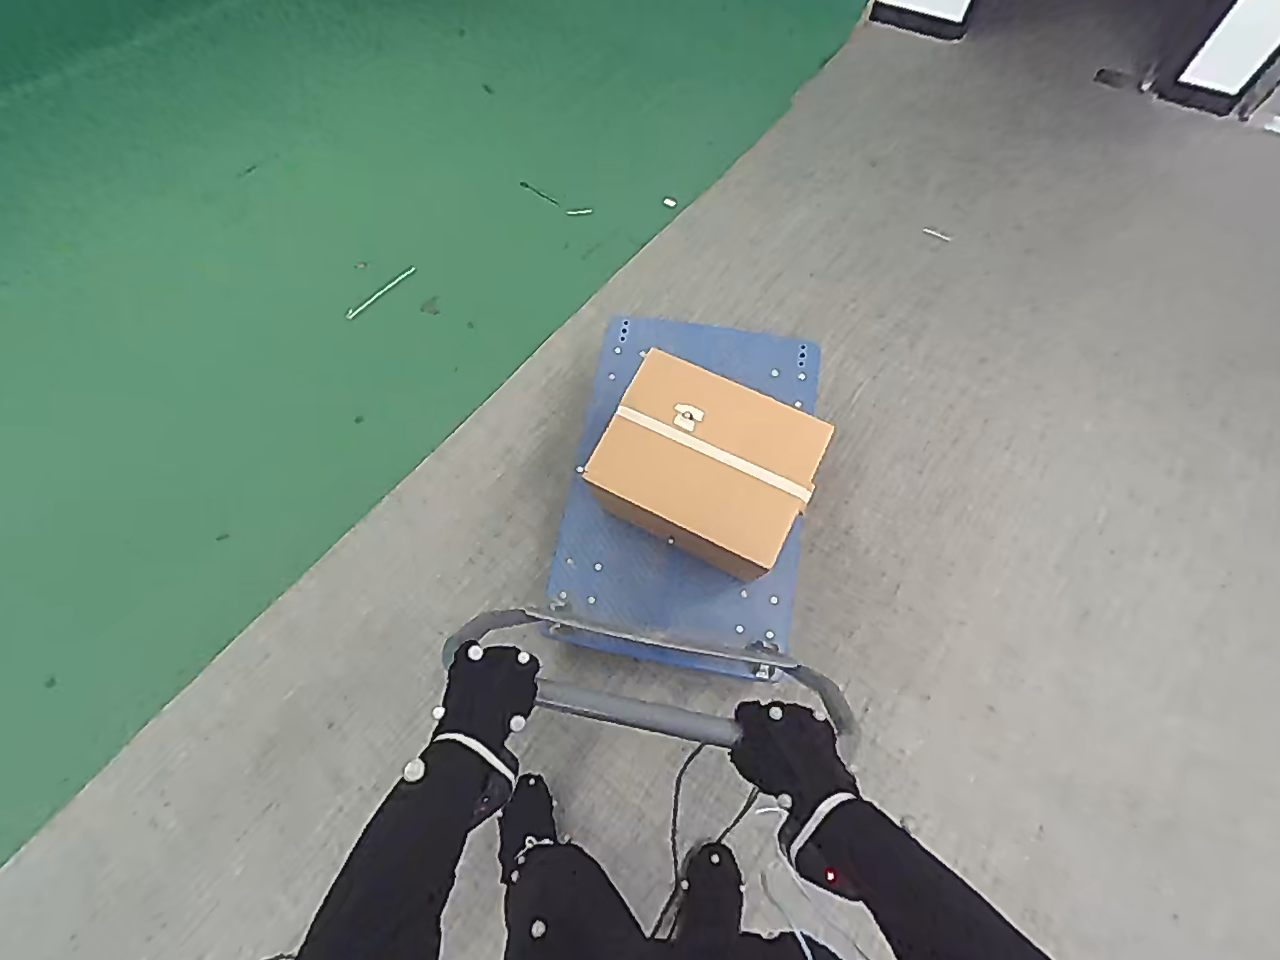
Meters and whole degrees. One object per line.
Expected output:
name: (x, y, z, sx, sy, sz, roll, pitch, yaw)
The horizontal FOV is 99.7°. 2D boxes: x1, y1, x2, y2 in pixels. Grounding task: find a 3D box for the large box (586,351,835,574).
large box: (0.152, -0.020, 1.192, 0.408, 0.320, 0.320, 25, 79, 12)
